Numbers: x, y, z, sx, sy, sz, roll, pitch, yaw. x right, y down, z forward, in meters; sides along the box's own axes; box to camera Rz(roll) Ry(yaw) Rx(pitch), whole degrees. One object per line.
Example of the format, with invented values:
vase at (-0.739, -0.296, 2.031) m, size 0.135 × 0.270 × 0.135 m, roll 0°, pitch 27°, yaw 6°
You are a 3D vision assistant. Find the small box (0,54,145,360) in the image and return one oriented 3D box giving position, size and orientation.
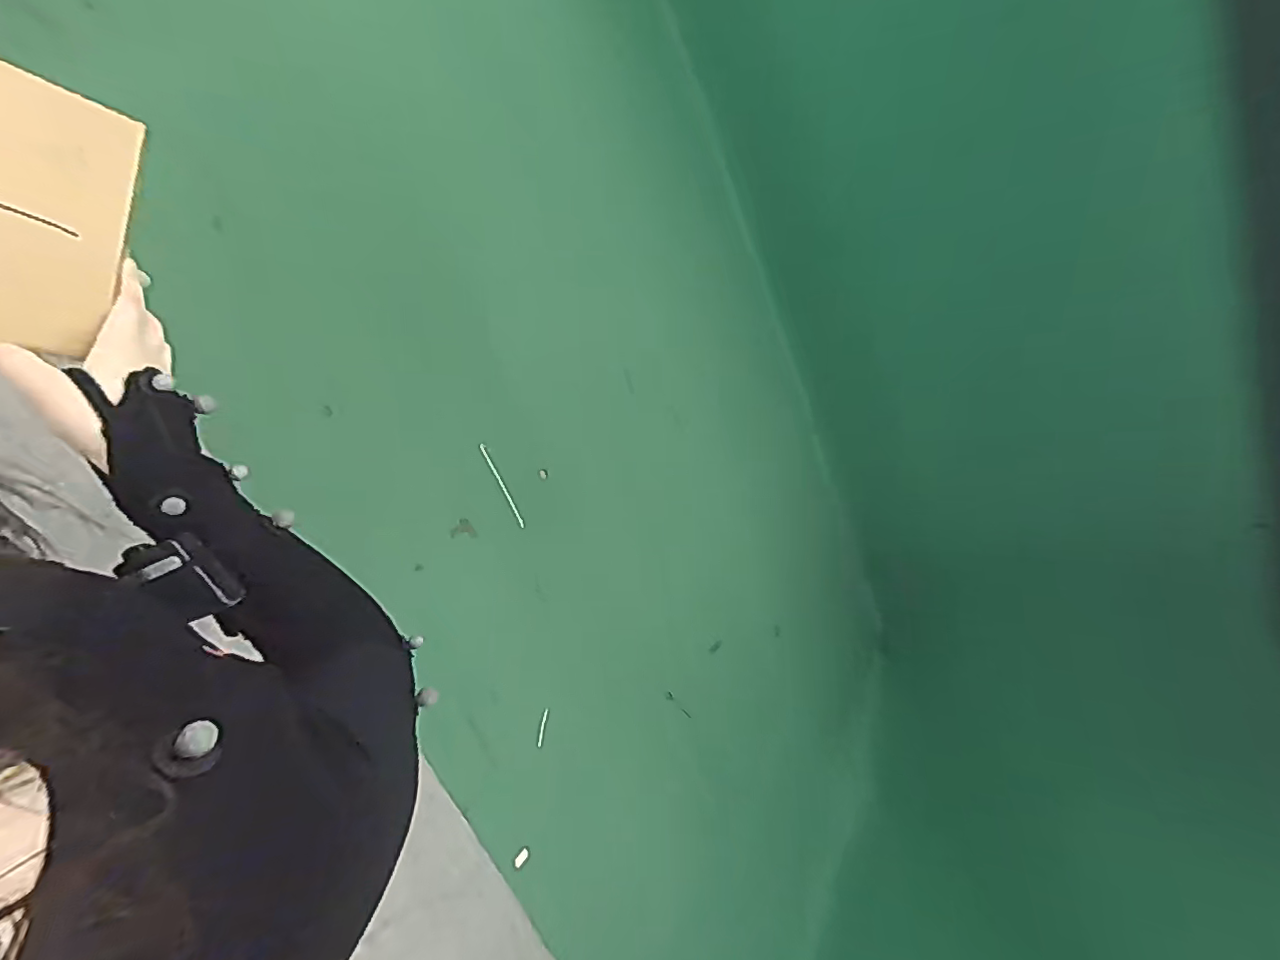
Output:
small box at (-0.454, -0.180, 0.348) m, size 0.179 × 0.176 × 0.168 m, roll 11°, pitch 92°, yaw -46°
